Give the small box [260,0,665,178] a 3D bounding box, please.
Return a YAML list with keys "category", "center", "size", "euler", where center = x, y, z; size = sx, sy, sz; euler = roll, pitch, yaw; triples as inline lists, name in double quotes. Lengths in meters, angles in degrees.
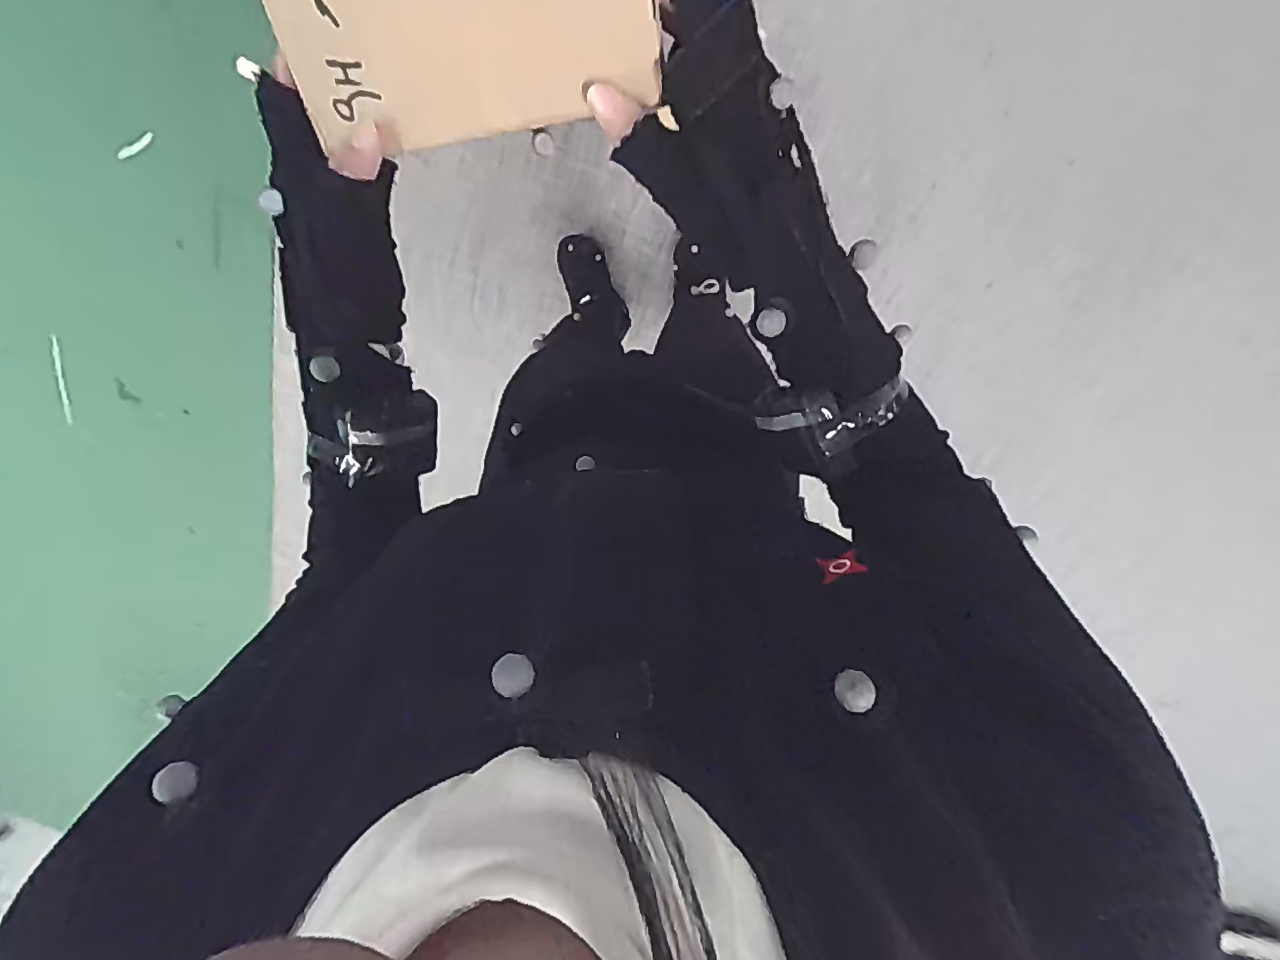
- category: "small box"
  center: [-0.086, -0.280, 0.293]
  size: [0.179, 0.176, 0.168]
  euler: [-8, 125, 7]
